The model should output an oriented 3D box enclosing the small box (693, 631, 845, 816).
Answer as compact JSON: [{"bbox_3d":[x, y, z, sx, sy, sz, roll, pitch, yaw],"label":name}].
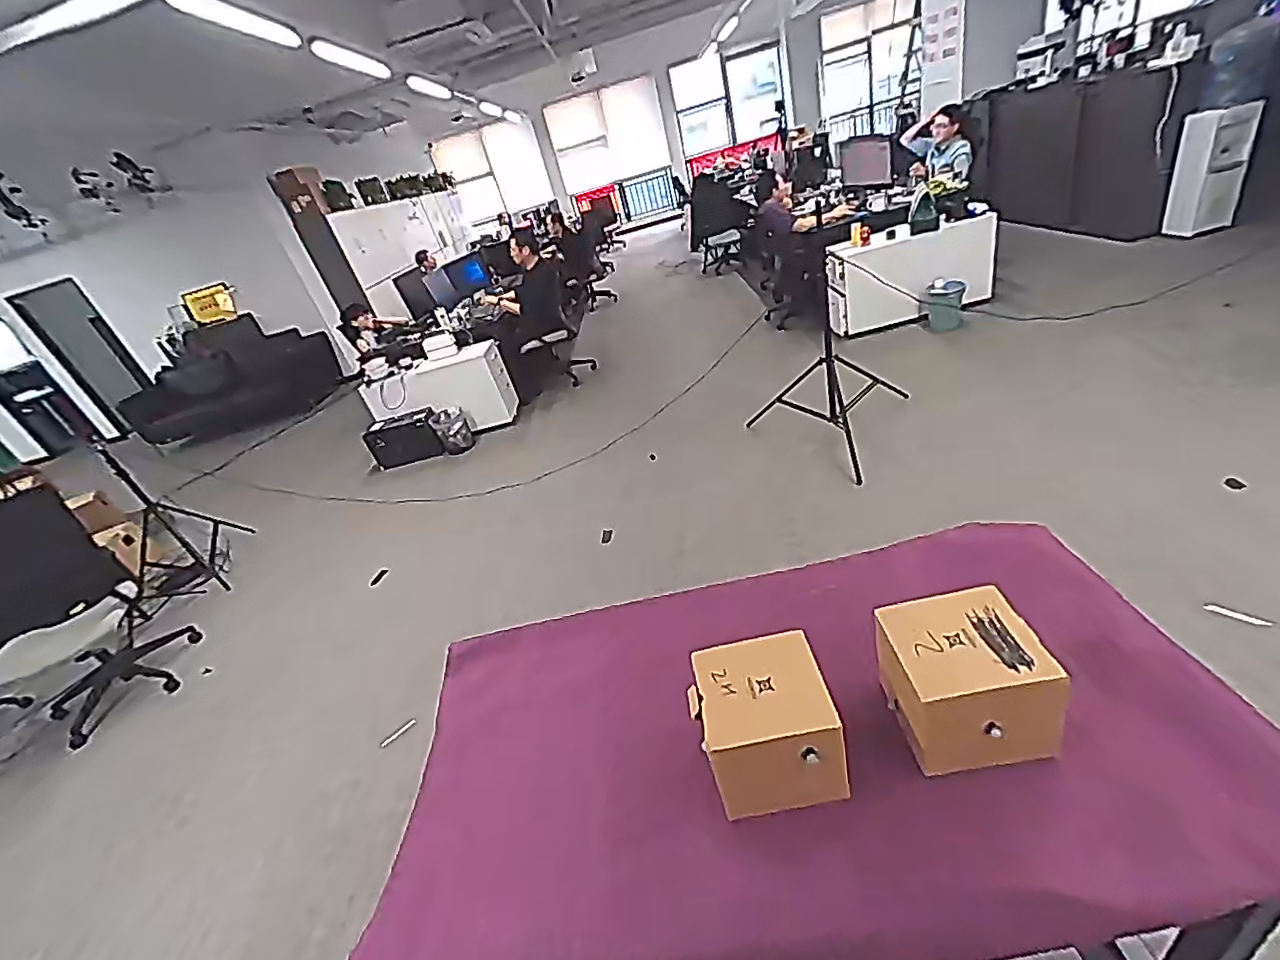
[{"bbox_3d":[0.187,0.355,0.790,0.179,0.176,0.168,-15,29,5],"label":"small box"}]
